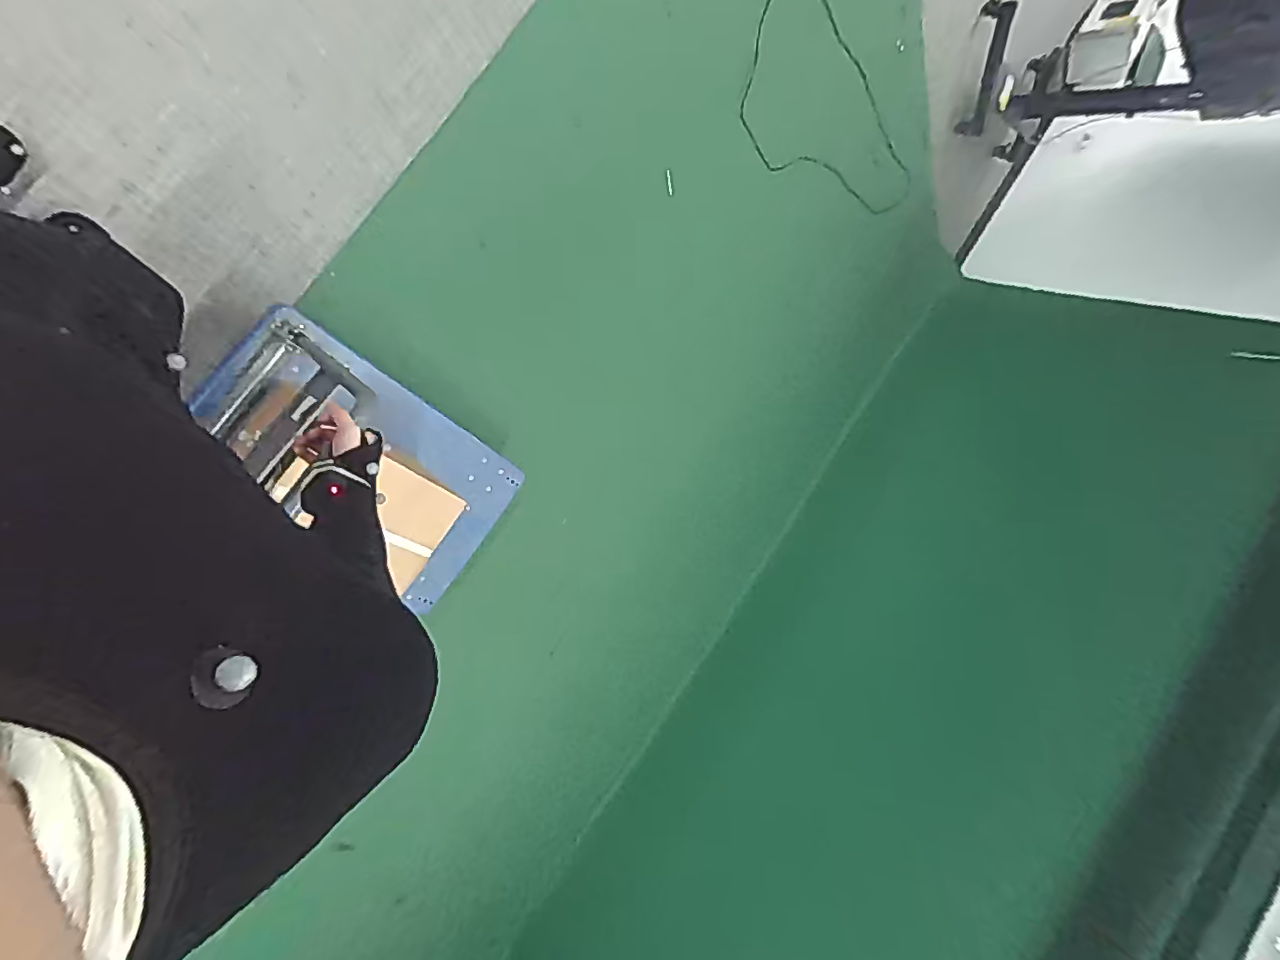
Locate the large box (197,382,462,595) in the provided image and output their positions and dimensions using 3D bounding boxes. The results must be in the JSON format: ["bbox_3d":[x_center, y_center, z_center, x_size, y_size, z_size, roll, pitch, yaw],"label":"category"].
[{"bbox_3d":[-0.733,0.025,1.302,0.320,0.320,0.408,-55,141,-6],"label":"large box"}]
